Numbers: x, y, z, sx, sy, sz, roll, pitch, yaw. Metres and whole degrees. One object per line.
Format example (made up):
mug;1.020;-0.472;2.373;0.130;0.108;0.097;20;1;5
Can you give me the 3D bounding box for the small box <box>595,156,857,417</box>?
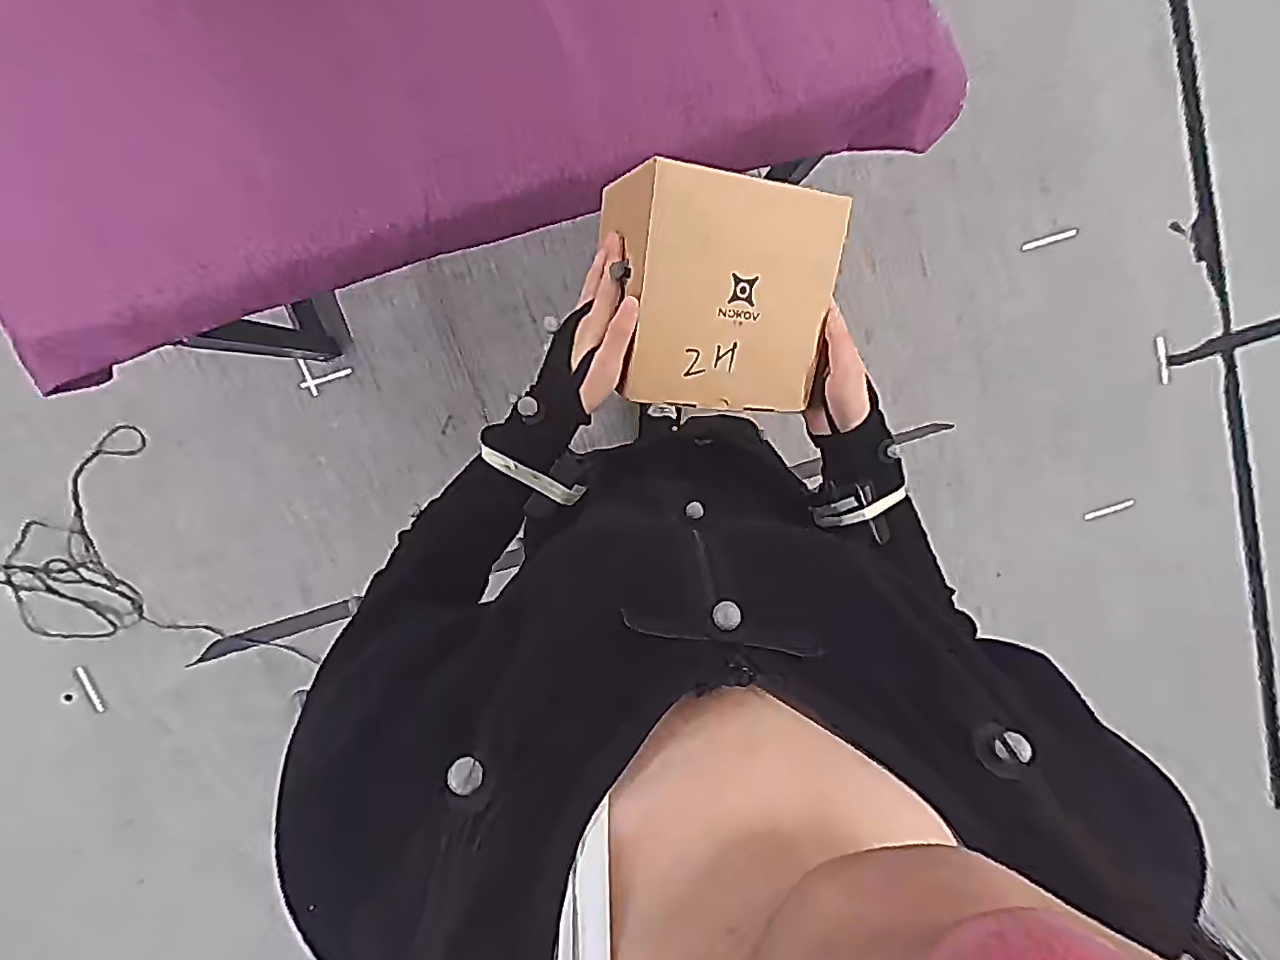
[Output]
small box;0.061;-0.166;0.500;0.168;0.176;0.179;2;108;-19
